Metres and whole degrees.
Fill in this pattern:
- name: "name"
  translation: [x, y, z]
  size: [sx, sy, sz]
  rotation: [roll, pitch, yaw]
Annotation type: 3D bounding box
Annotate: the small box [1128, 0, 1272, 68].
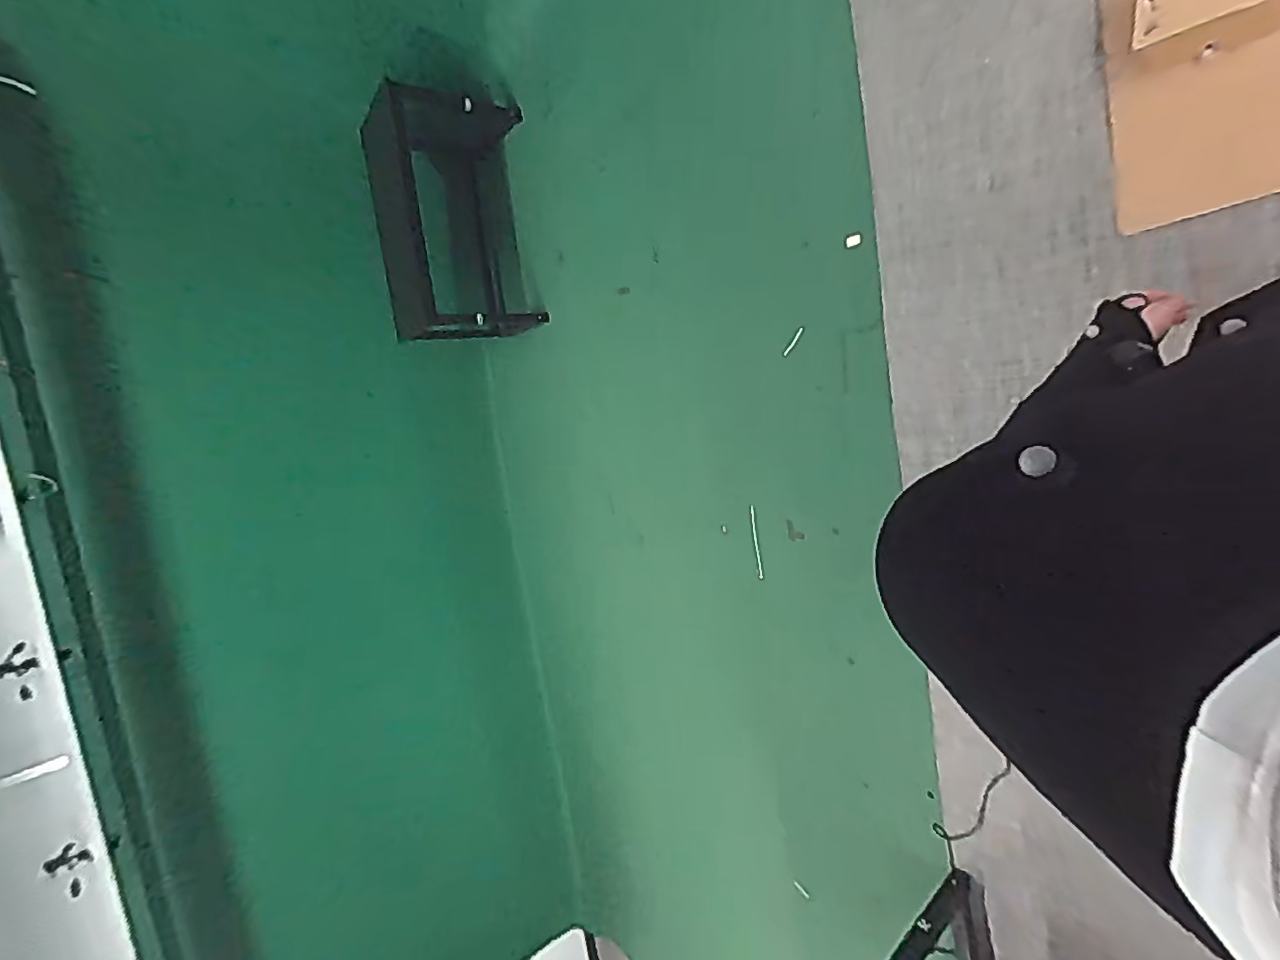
- name: "small box"
  translation: [1.046, -0.911, 1.003]
  size: [0.179, 0.176, 0.168]
  rotation: [10, 109, 50]
